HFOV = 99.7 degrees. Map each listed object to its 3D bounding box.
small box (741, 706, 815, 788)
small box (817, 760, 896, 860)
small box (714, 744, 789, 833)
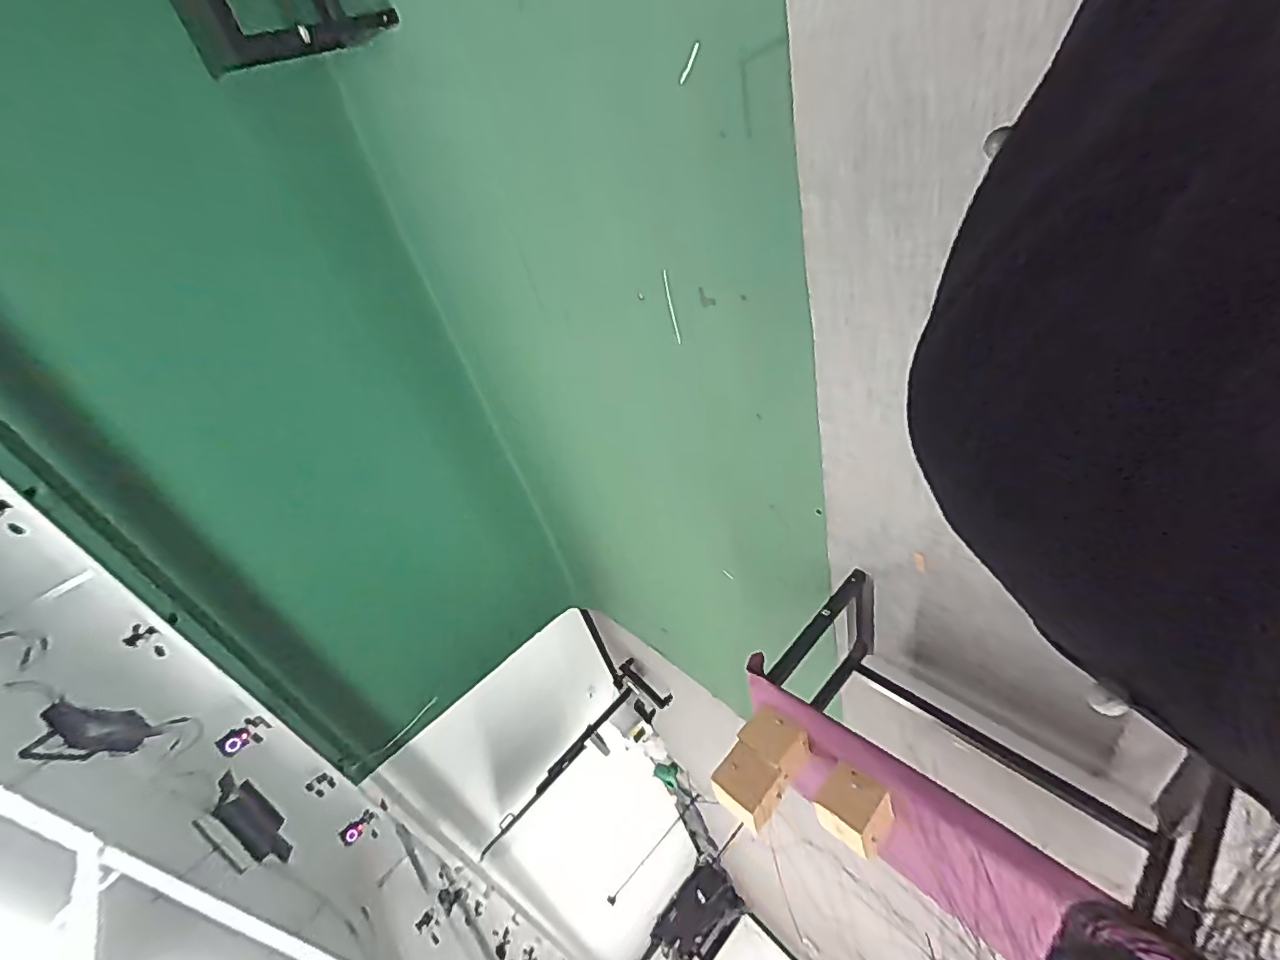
[{"bbox_3d":[0.483,0.924,1.888,0.179,0.176,0.168,20,139,47],"label":"small box"},{"bbox_3d":[0.685,1.030,1.698,0.168,0.176,0.179,17,138,48],"label":"small box"},{"bbox_3d":[0.376,1.022,1.811,0.179,0.176,0.168,25,142,41],"label":"small box"}]
